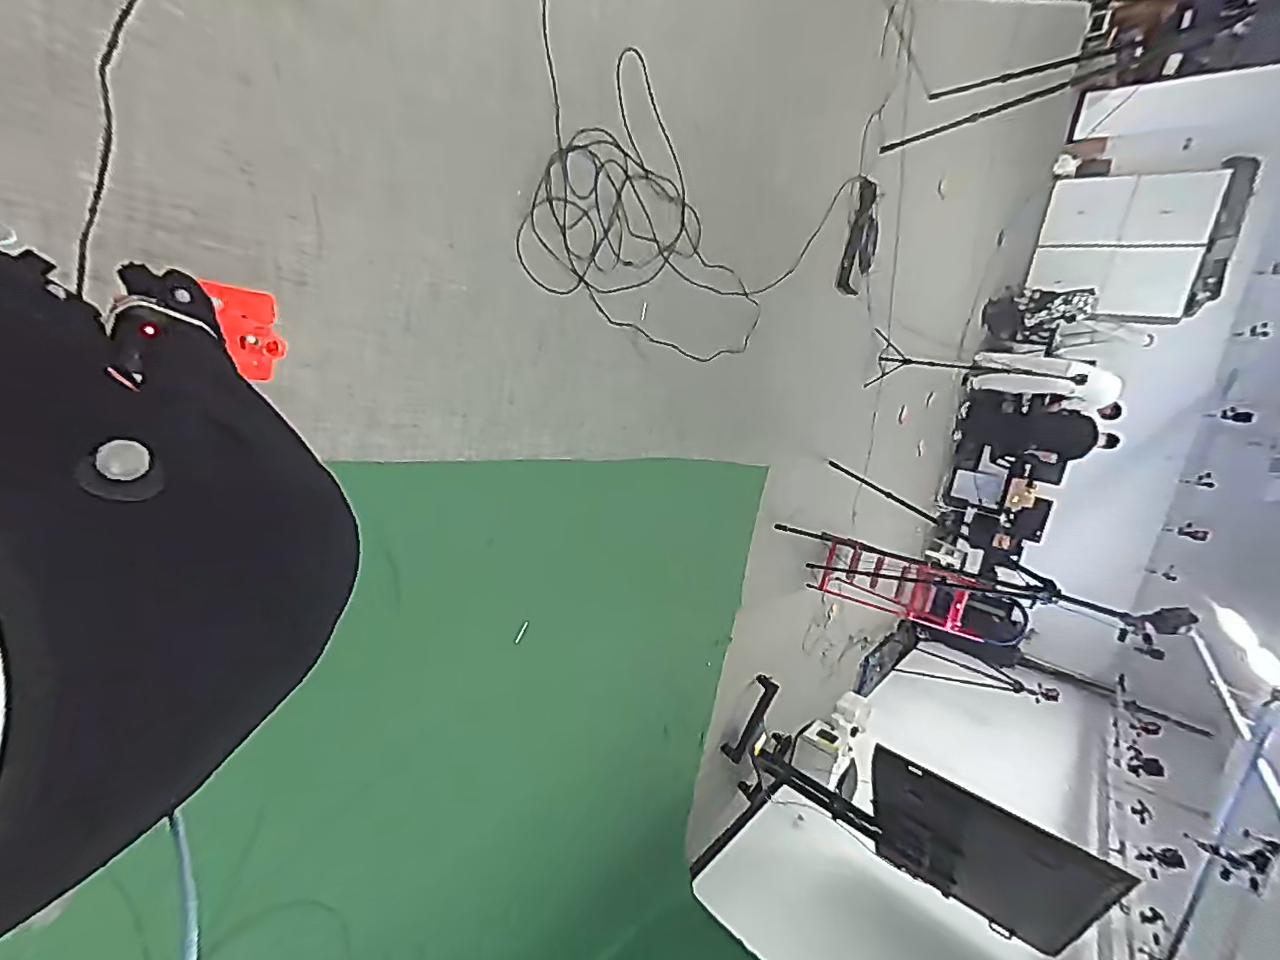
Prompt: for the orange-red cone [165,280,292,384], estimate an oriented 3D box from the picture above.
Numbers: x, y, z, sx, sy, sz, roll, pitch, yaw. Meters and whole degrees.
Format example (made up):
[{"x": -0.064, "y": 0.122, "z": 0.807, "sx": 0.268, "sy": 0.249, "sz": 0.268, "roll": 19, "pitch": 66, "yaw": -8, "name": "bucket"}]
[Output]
[{"x": -0.782, "y": -0.278, "z": 1.079, "sx": 0.198, "sy": 0.360, "sz": 0.199, "roll": -2, "pitch": 105, "yaw": -51, "name": "orange-red cone"}]
